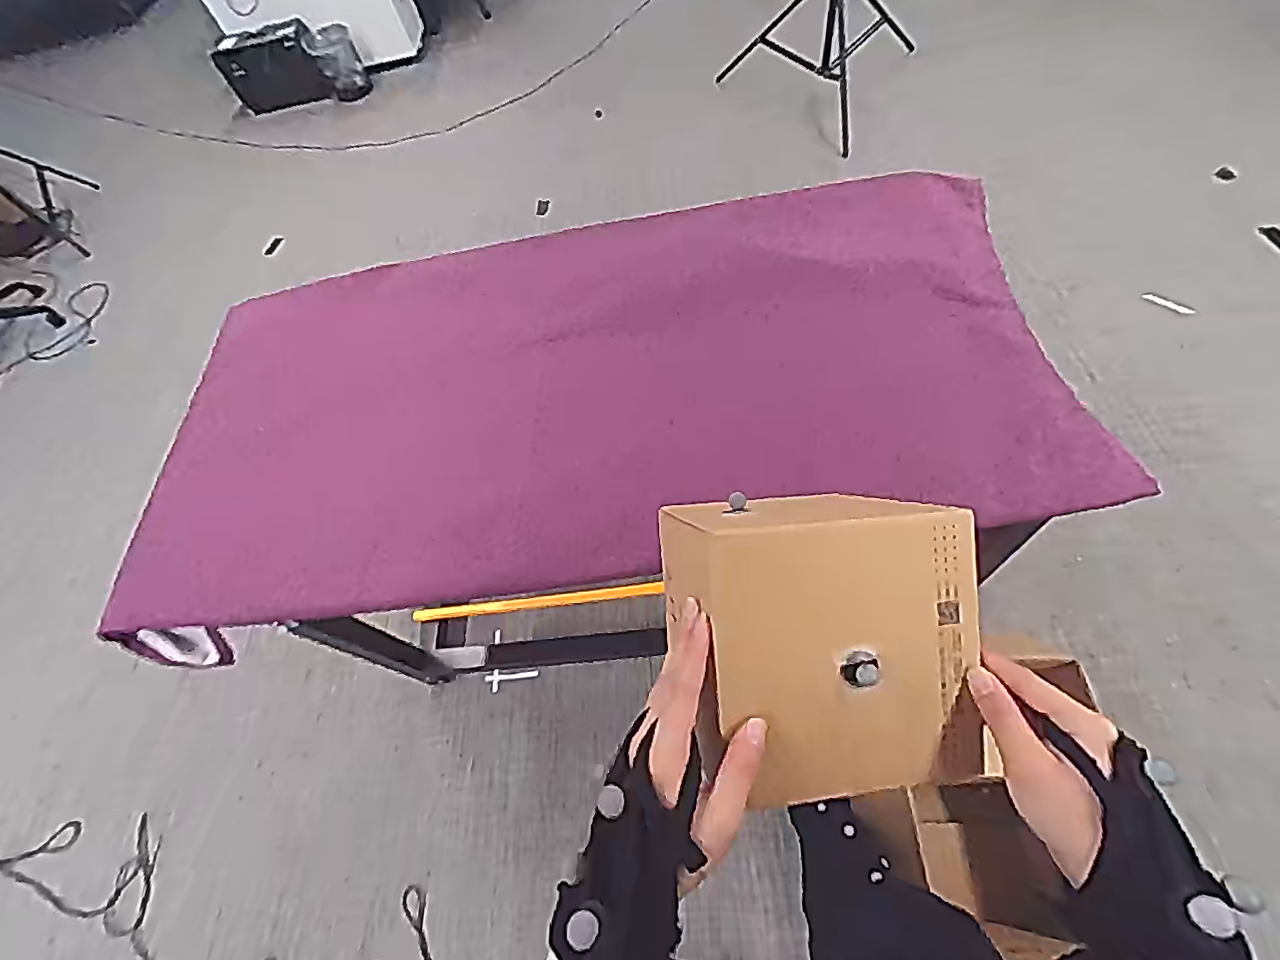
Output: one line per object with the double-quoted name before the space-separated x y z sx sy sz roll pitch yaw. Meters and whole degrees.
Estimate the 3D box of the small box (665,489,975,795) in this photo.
"small box" 0.121 0.096 0.407 0.176 0.179 0.168 -3 92 -8
